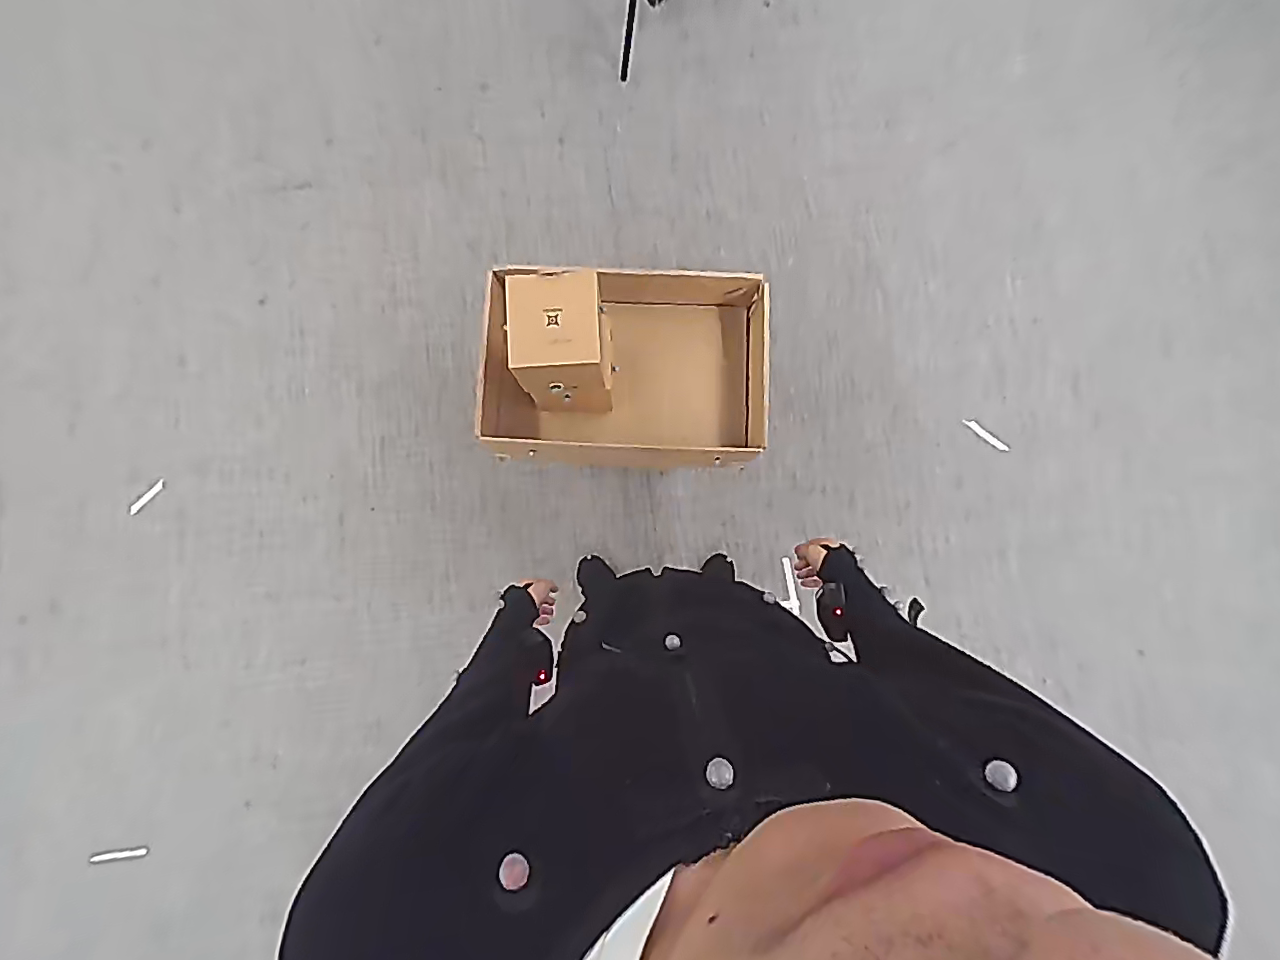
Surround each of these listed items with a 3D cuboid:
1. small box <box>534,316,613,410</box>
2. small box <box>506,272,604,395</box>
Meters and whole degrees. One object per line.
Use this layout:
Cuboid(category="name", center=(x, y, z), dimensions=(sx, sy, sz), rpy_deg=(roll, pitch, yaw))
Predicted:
Cuboid(category="small box", center=(-0.151, -0.254, 1.204), dimensions=(0.179, 0.176, 0.168), rpy_deg=(-1, 83, -2))
Cuboid(category="small box", center=(-0.158, -0.275, 1.041), dimensions=(0.168, 0.176, 0.179), rpy_deg=(-3, 82, -1))
